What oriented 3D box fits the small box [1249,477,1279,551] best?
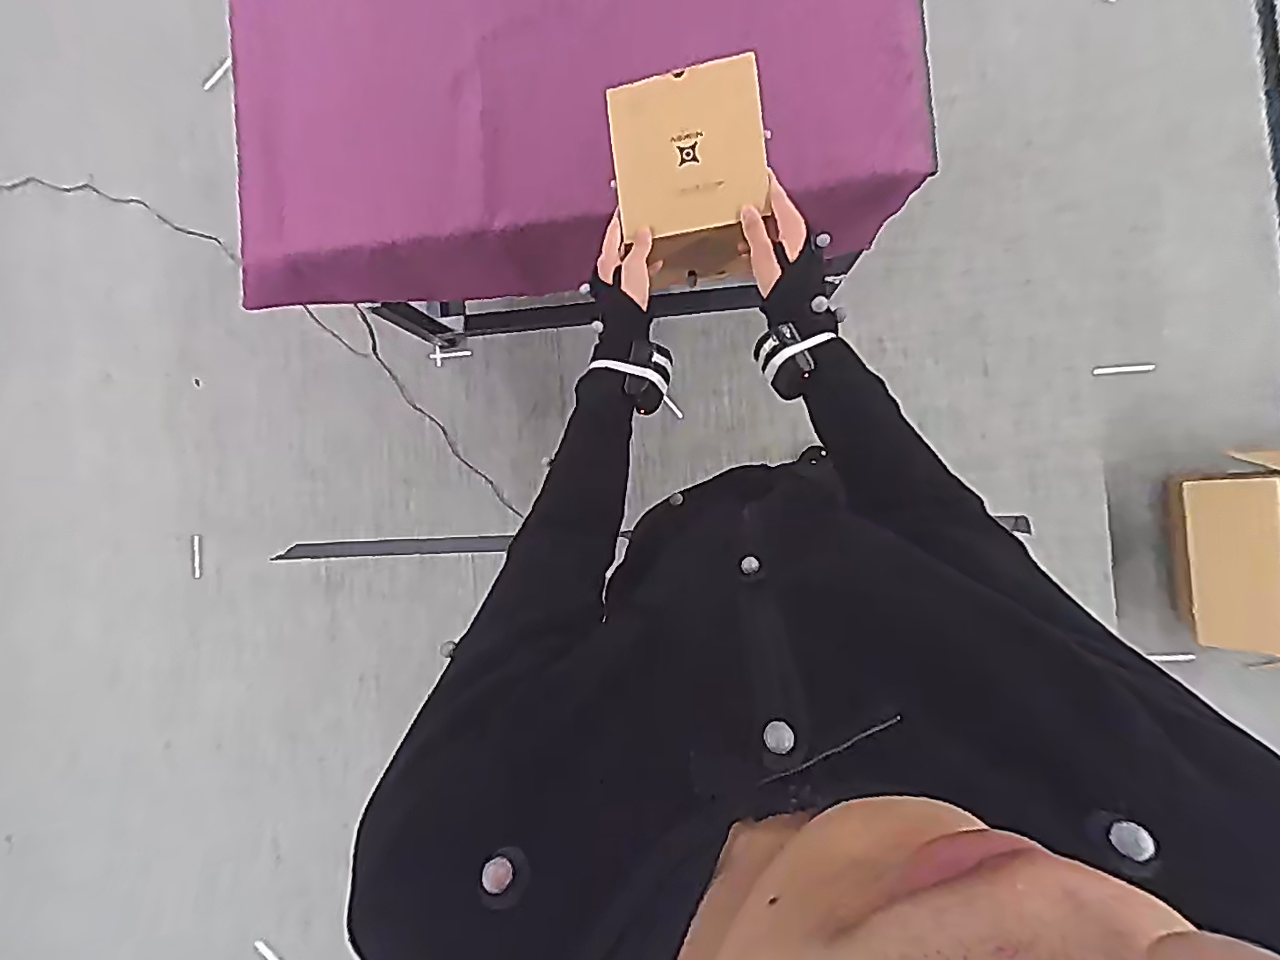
[{"bbox_3d":[1.531,0.076,1.208,0.179,0.176,0.168,-5,89,7],"label":"small box"}]

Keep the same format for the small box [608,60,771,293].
[{"bbox_3d":[0.065,-0.355,0.666,0.168,0.176,0.179,-7,89,11],"label":"small box"}]
